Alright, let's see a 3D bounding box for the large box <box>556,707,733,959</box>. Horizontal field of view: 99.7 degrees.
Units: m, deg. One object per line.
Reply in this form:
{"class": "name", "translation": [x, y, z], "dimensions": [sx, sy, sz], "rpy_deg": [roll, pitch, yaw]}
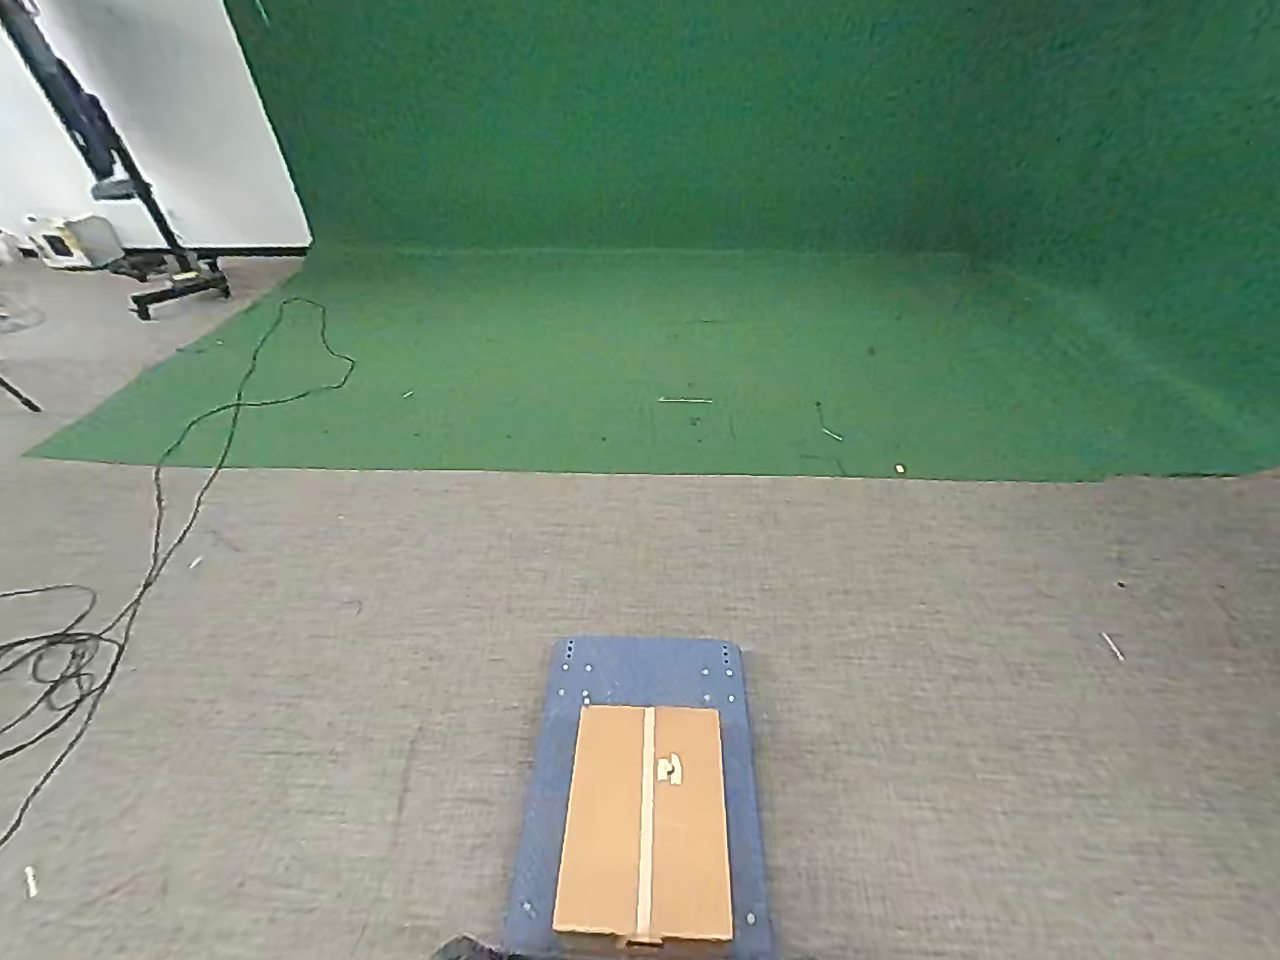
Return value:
{"class": "large box", "translation": [0.015, 0.763, 1.170], "dimensions": [0.320, 0.320, 0.408], "rpy_deg": [2, 40, 2]}
